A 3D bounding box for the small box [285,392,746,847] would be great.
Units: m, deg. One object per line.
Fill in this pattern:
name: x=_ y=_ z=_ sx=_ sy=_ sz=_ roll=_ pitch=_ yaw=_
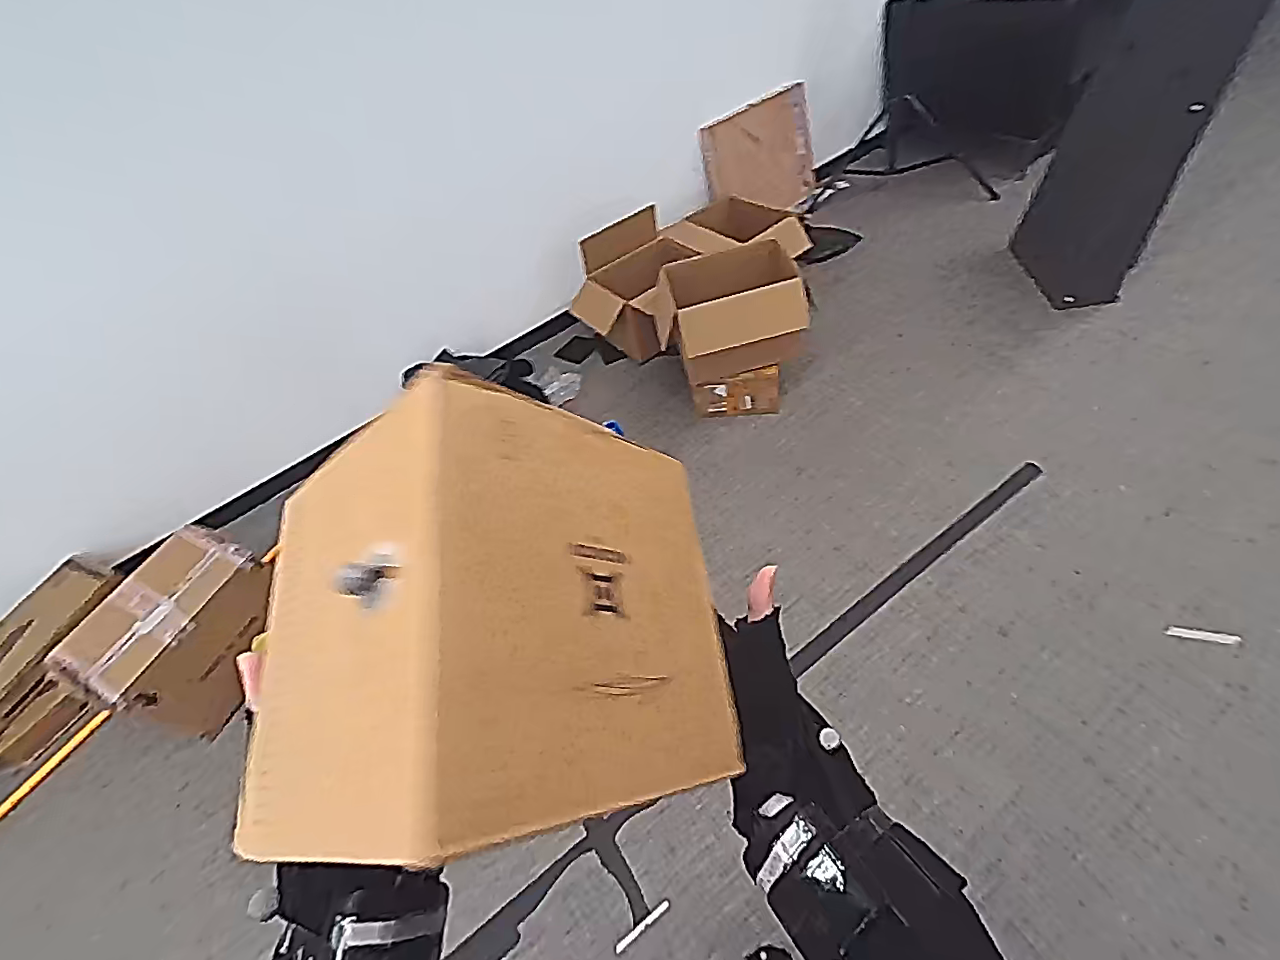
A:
small box: x=-0.068 y=0.087 z=0.302 sx=0.176 sy=0.168 sz=0.179 roll=-25 pitch=60 yaw=33
